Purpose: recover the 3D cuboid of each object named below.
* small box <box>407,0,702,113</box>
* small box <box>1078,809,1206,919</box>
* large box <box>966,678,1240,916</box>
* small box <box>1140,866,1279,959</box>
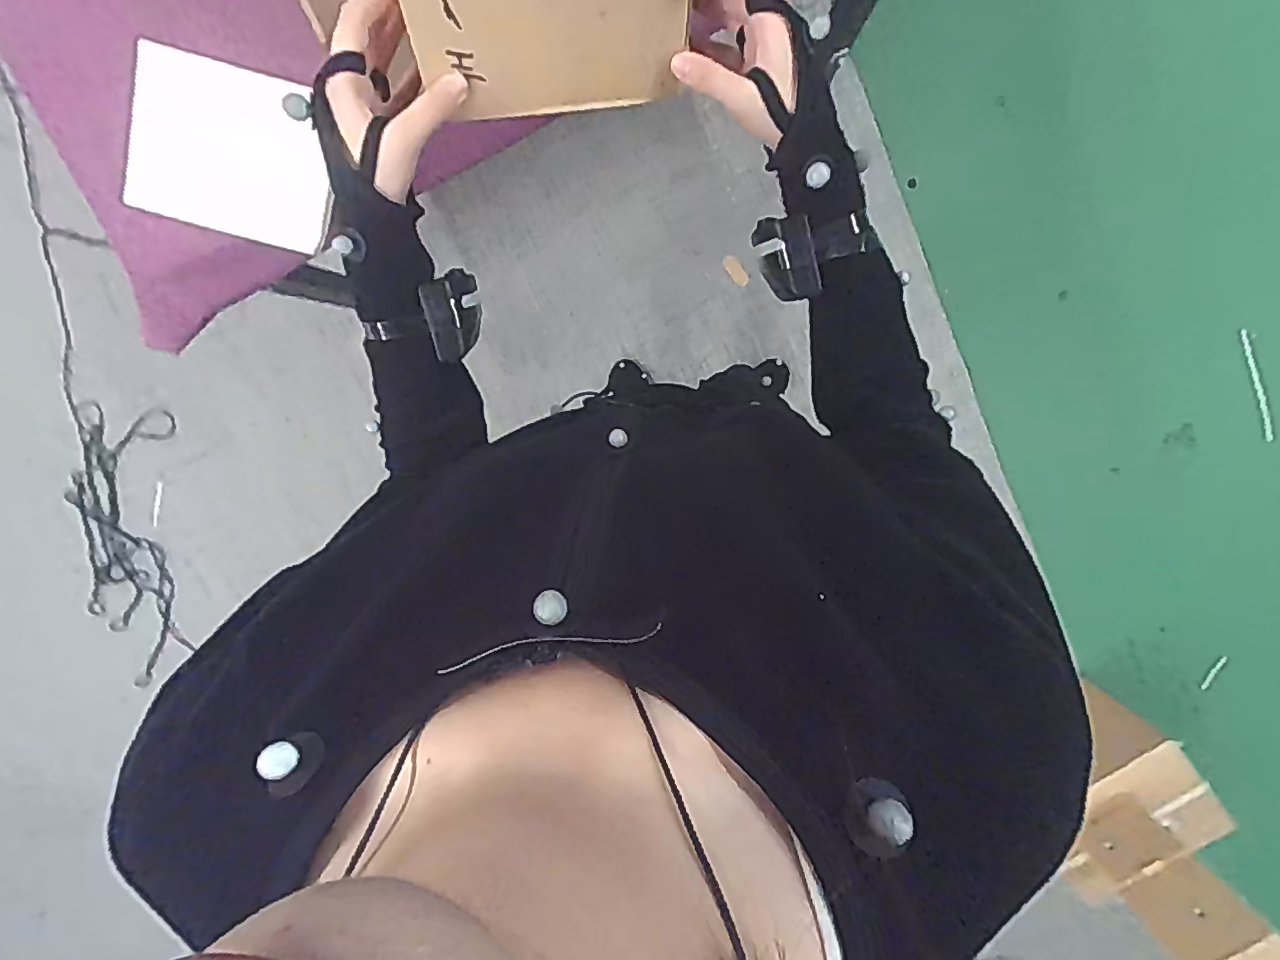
[{"bbox_3d":[-0.064,-0.363,0.334,0.179,0.168,0.176,-10,61,-8],"label":"small box"},{"bbox_3d":[1.156,0.888,1.221,0.168,0.176,0.179,-39,96,8],"label":"small box"},{"bbox_3d":[1.207,0.828,1.457,0.408,0.320,0.320,-39,98,7],"label":"large box"},{"bbox_3d":[1.148,0.921,1.060,0.179,0.176,0.168,-40,96,8],"label":"small box"}]
